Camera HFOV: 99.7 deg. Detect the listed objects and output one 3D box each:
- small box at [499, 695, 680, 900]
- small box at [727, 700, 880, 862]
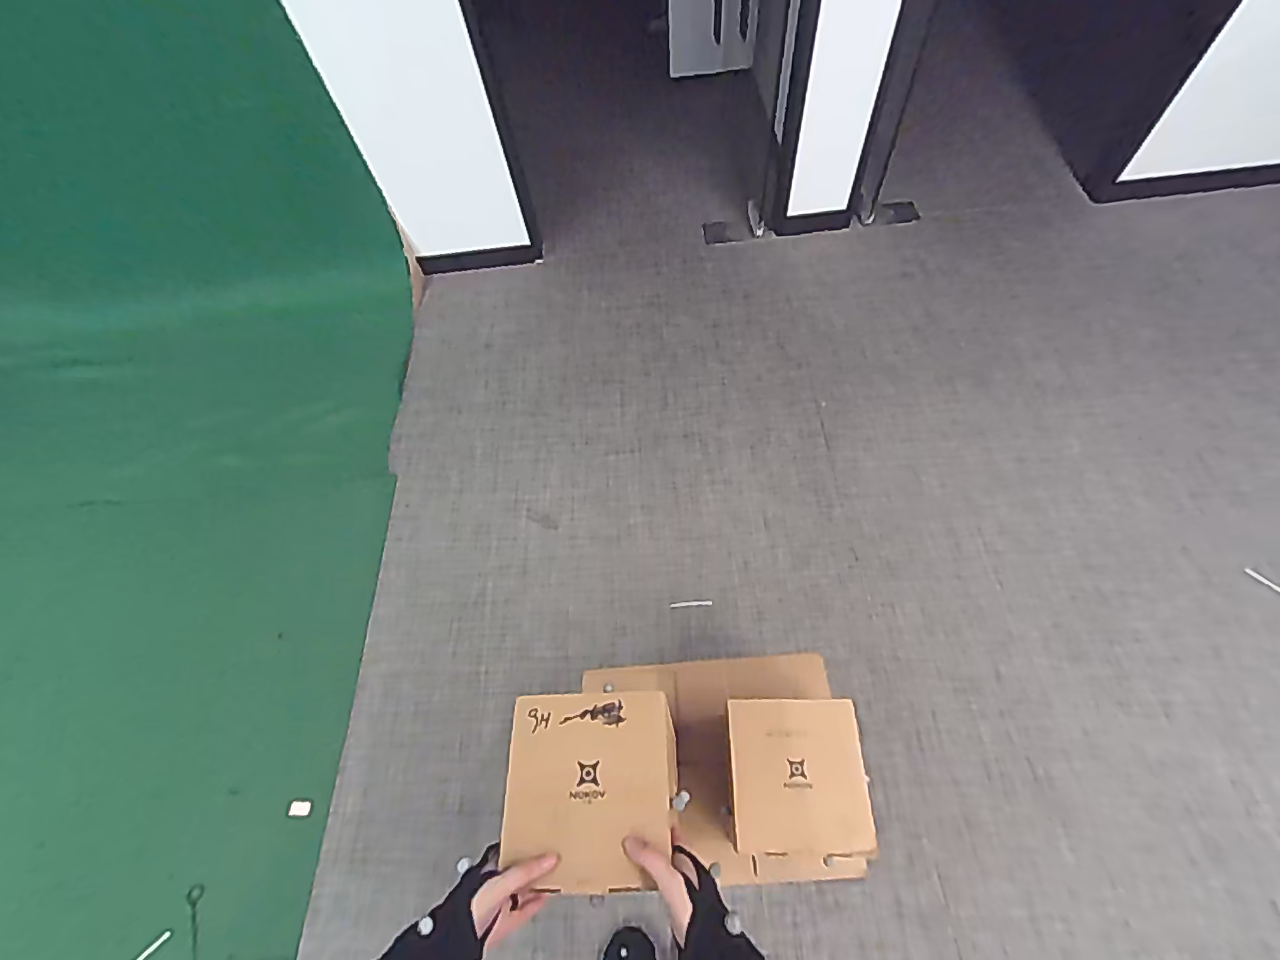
[{"bbox_3d":[-0.043,0.350,0.604,0.168,0.176,0.179,-3,56,3],"label":"small box"},{"bbox_3d":[0.208,0.407,0.740,0.168,0.176,0.179,-2,59,5],"label":"small box"}]
